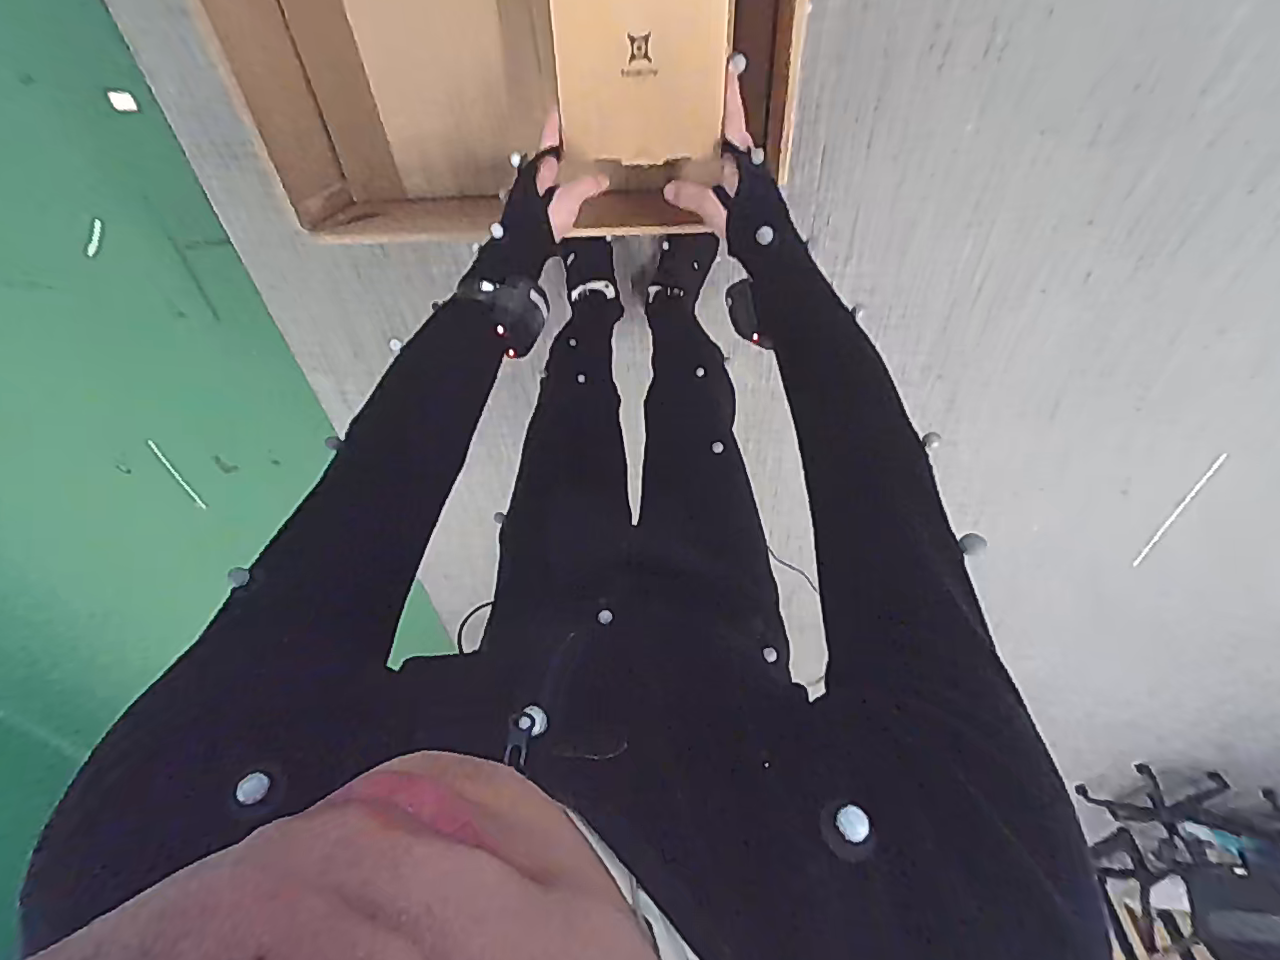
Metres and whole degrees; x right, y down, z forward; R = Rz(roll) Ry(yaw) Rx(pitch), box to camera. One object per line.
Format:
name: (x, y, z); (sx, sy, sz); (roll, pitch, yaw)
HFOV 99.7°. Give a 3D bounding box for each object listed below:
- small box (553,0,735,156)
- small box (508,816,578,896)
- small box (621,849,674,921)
small box: (0.013, -0.448, 0.568); (0.168, 0.176, 0.179); (4, 125, 8)
small box: (-0.292, 1.163, 1.672); (0.168, 0.176, 0.179); (0, 133, 5)
small box: (0.028, 1.373, 1.835); (0.168, 0.176, 0.179); (-2, 132, 7)
